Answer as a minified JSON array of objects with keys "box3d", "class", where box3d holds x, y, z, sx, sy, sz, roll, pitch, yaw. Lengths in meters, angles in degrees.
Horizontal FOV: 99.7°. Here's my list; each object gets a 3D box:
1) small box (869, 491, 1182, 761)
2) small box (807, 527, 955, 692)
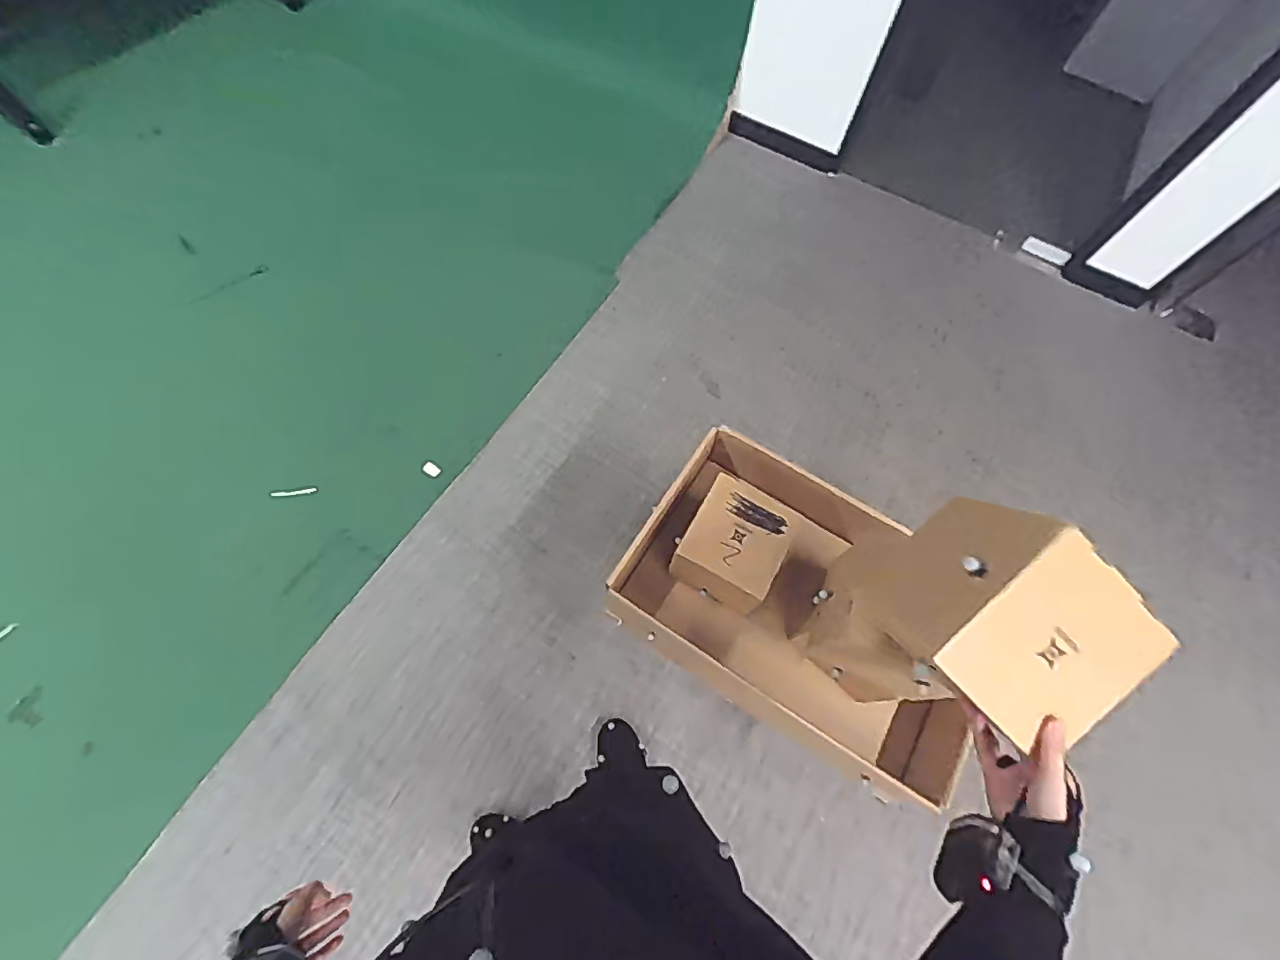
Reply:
[{"box3d":[0.371,0.135,0.563,0.179,0.176,0.168,-45,98,4],"class":"small box"},{"box3d":[0.371,0.197,0.792,0.179,0.176,0.168,23,67,9],"class":"small box"}]
